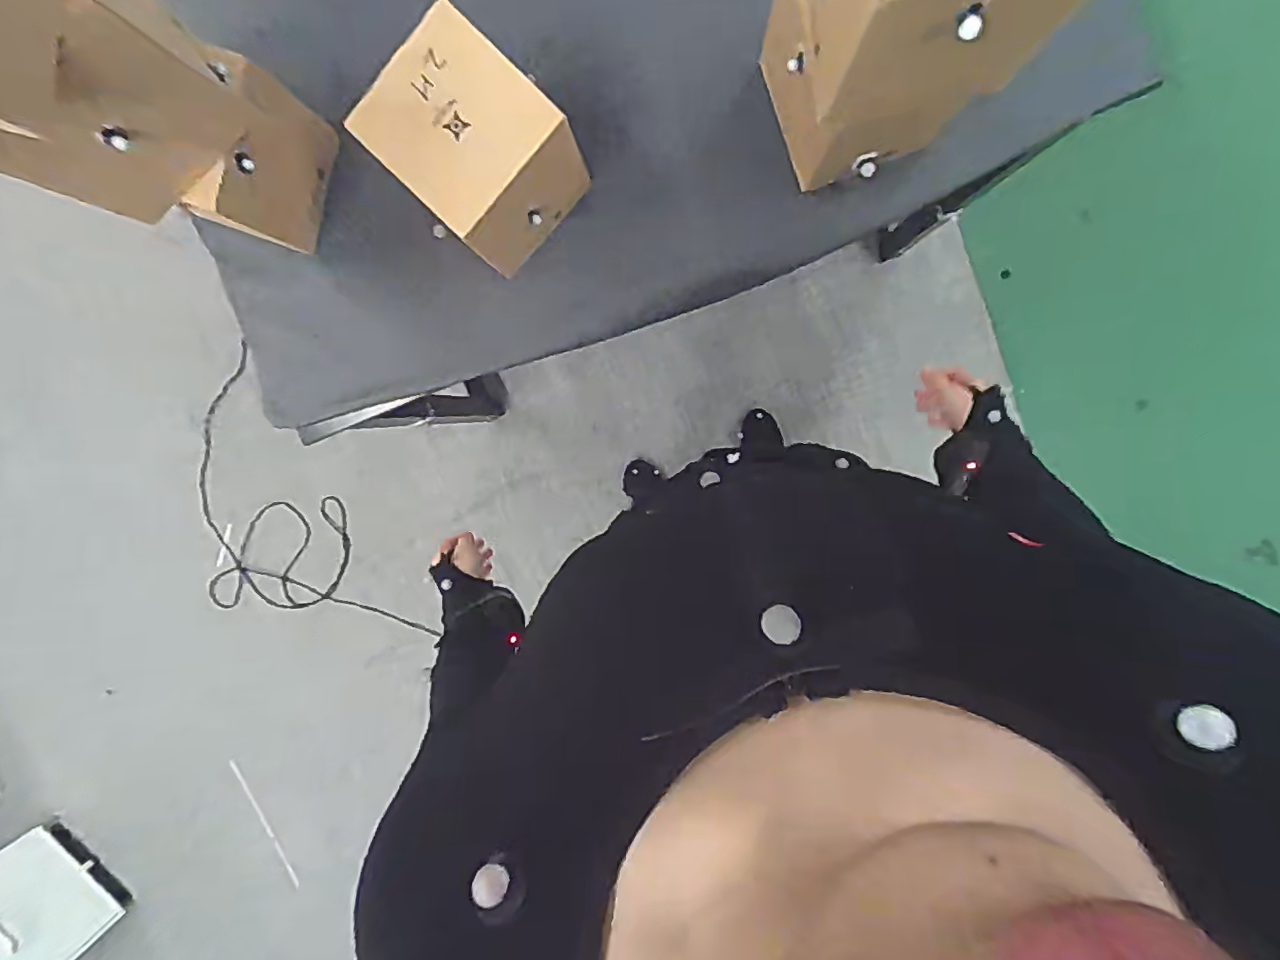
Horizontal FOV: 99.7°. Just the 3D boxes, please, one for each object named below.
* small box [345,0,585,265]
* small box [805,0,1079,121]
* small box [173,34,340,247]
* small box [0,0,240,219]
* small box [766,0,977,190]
[{"bbox_3d":[-0.187,-0.380,0.637,0.179,0.176,0.168,44,97,-1],"label":"small box"},{"bbox_3d":[0.241,-0.431,0.435,0.179,0.176,0.168,-9,95,7],"label":"small box"},{"bbox_3d":[-0.513,-0.408,0.659,0.179,0.176,0.168,19,98,1],"label":"small box"},{"bbox_3d":[-0.523,-0.383,0.496,0.179,0.176,0.168,-39,94,8],"label":"small box"},{"bbox_3d":[0.249,-0.463,0.594,0.168,0.176,0.179,-19,95,7],"label":"small box"}]
